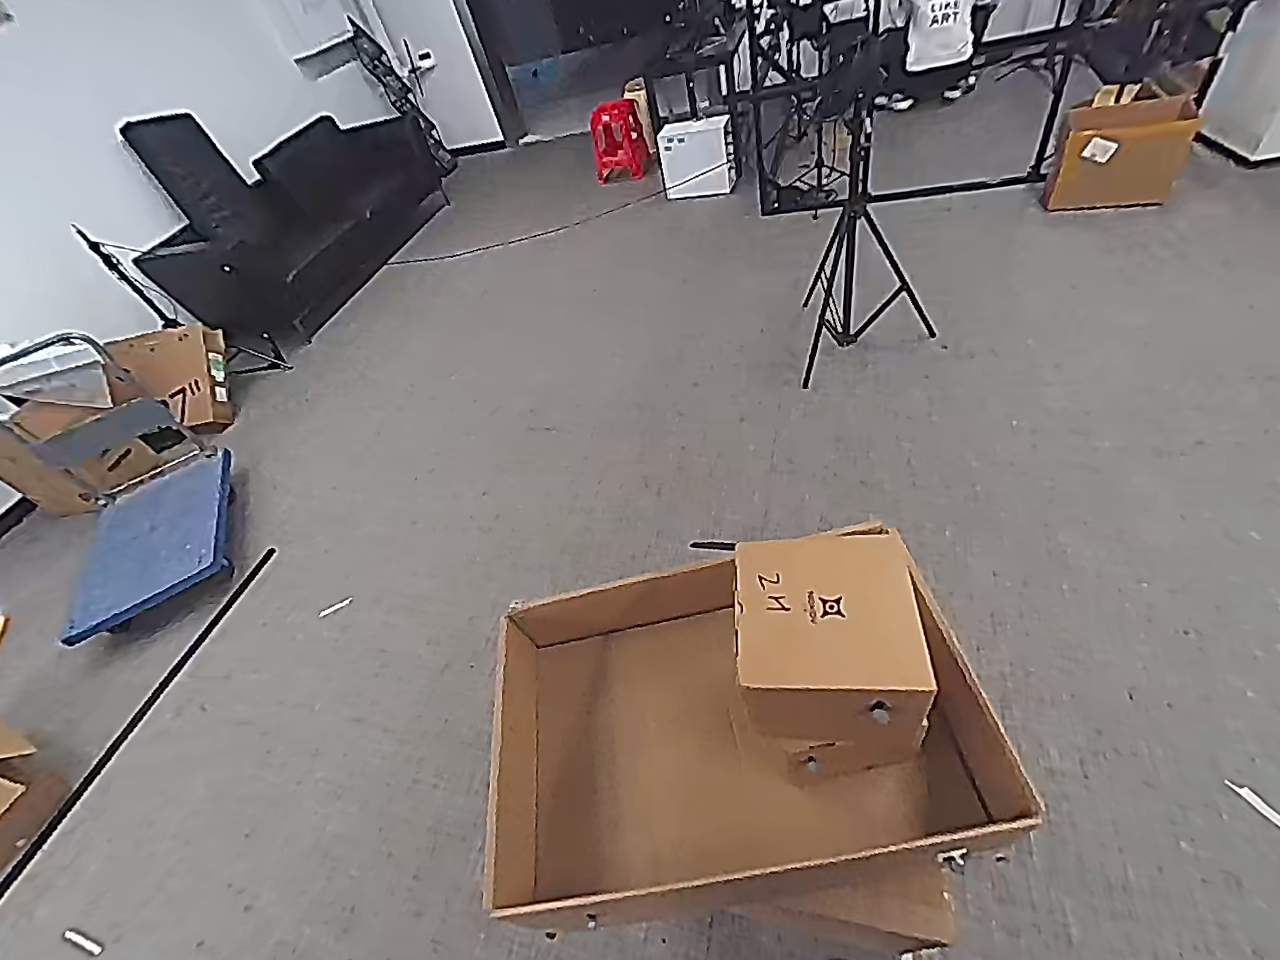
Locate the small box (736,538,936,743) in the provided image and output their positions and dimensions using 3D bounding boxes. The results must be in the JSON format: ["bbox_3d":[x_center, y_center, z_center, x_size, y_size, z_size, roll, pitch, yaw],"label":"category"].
[{"bbox_3d":[0.204,0.180,0.601,0.179,0.176,0.168,-5,49,15],"label":"small box"}]
